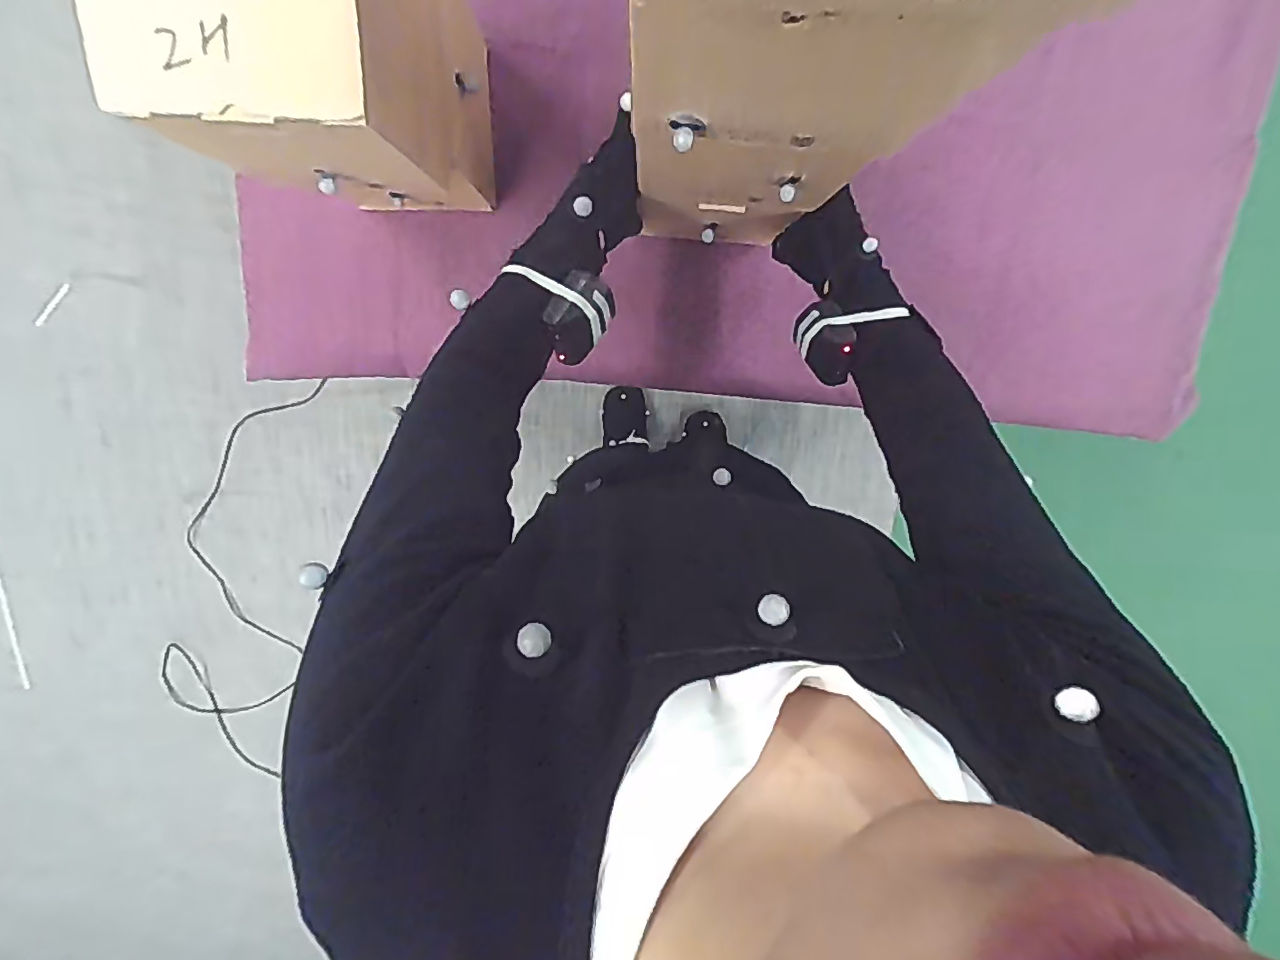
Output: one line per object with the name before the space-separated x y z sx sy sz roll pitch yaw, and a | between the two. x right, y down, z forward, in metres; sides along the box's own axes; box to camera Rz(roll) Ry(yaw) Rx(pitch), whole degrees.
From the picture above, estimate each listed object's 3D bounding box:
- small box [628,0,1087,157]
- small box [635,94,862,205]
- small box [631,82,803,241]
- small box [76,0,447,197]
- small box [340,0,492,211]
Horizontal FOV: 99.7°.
small box | 0.085 -0.271 0.245 0.168 0.176 0.179 5 103 -2
small box | 0.086 -0.312 0.387 0.168 0.176 0.179 4 103 -1
small box | 0.079 -0.356 0.564 0.168 0.176 0.179 2 103 1
small box | -0.250 -0.326 0.393 0.168 0.176 0.179 1 105 -2
small box | -0.253 -0.388 0.546 0.168 0.176 0.179 -1 105 -2
